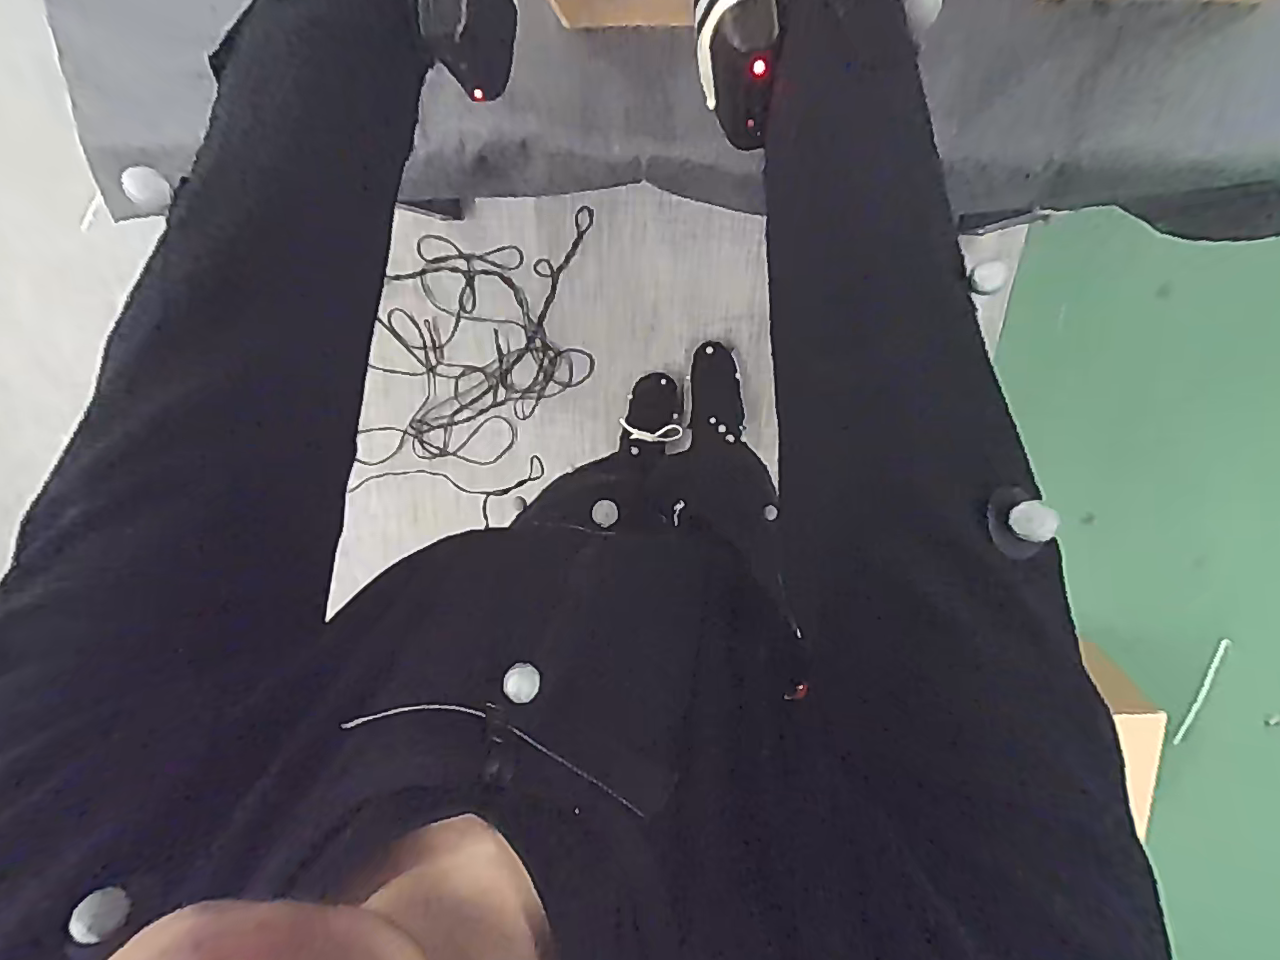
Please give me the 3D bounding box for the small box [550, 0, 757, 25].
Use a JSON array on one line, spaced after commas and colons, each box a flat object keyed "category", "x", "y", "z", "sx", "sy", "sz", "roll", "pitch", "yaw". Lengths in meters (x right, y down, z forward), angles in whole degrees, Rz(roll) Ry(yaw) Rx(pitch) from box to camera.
[{"category": "small box", "x": 0.002, "y": -0.444, "z": 0.364, "sx": 0.179, "sy": 0.176, "sz": 0.168, "roll": 5, "pitch": 108, "yaw": 7}]
